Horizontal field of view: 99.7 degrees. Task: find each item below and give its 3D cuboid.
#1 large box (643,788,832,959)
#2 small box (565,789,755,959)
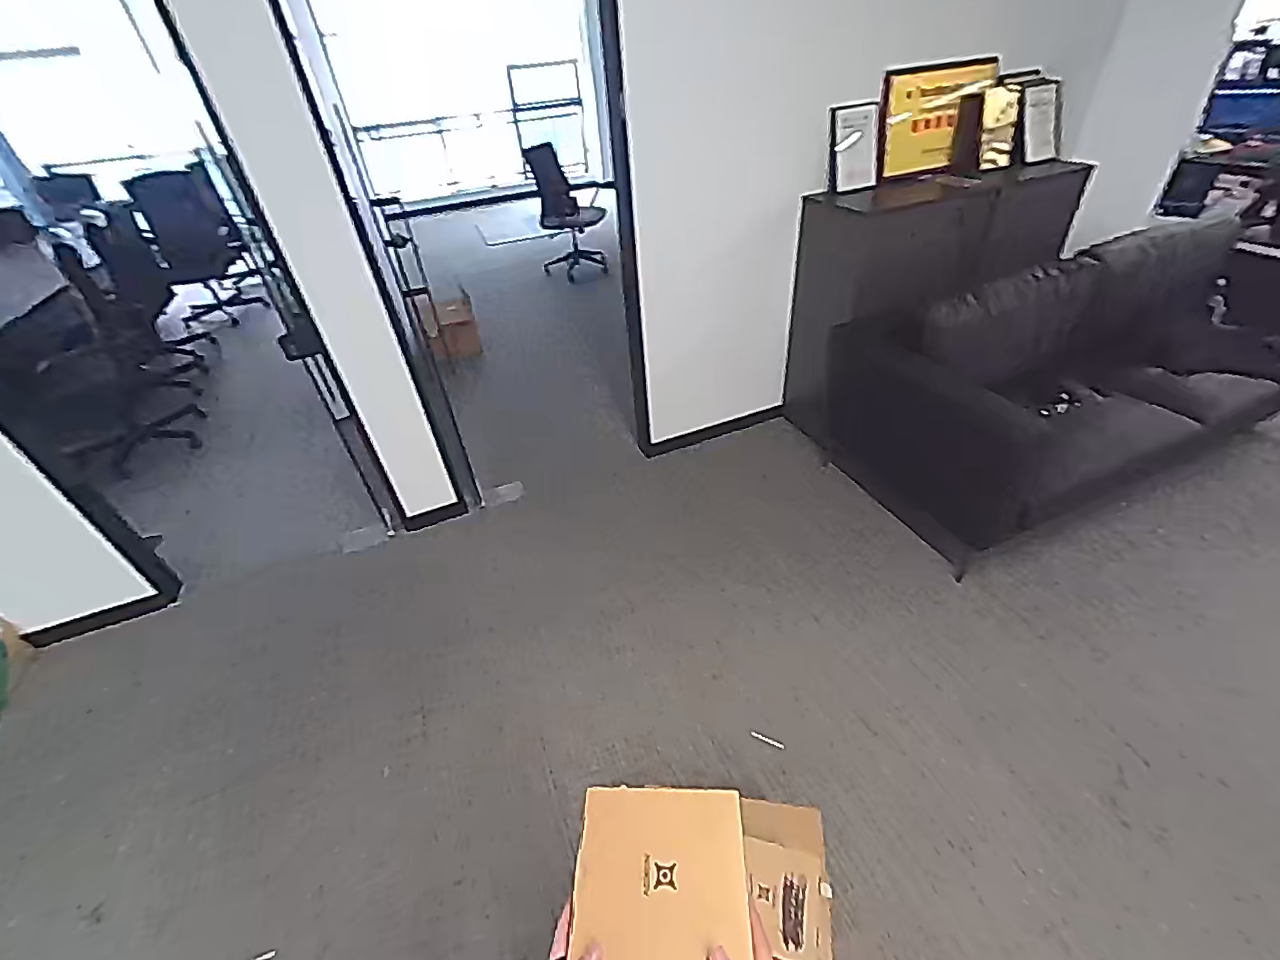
[{"bbox_3d":[0.192,0.936,1.213,0.408,0.320,0.320,2,39,10],"label":"large box"},{"bbox_3d":[0.024,0.461,0.591,0.179,0.176,0.168,-2,38,4],"label":"small box"}]
